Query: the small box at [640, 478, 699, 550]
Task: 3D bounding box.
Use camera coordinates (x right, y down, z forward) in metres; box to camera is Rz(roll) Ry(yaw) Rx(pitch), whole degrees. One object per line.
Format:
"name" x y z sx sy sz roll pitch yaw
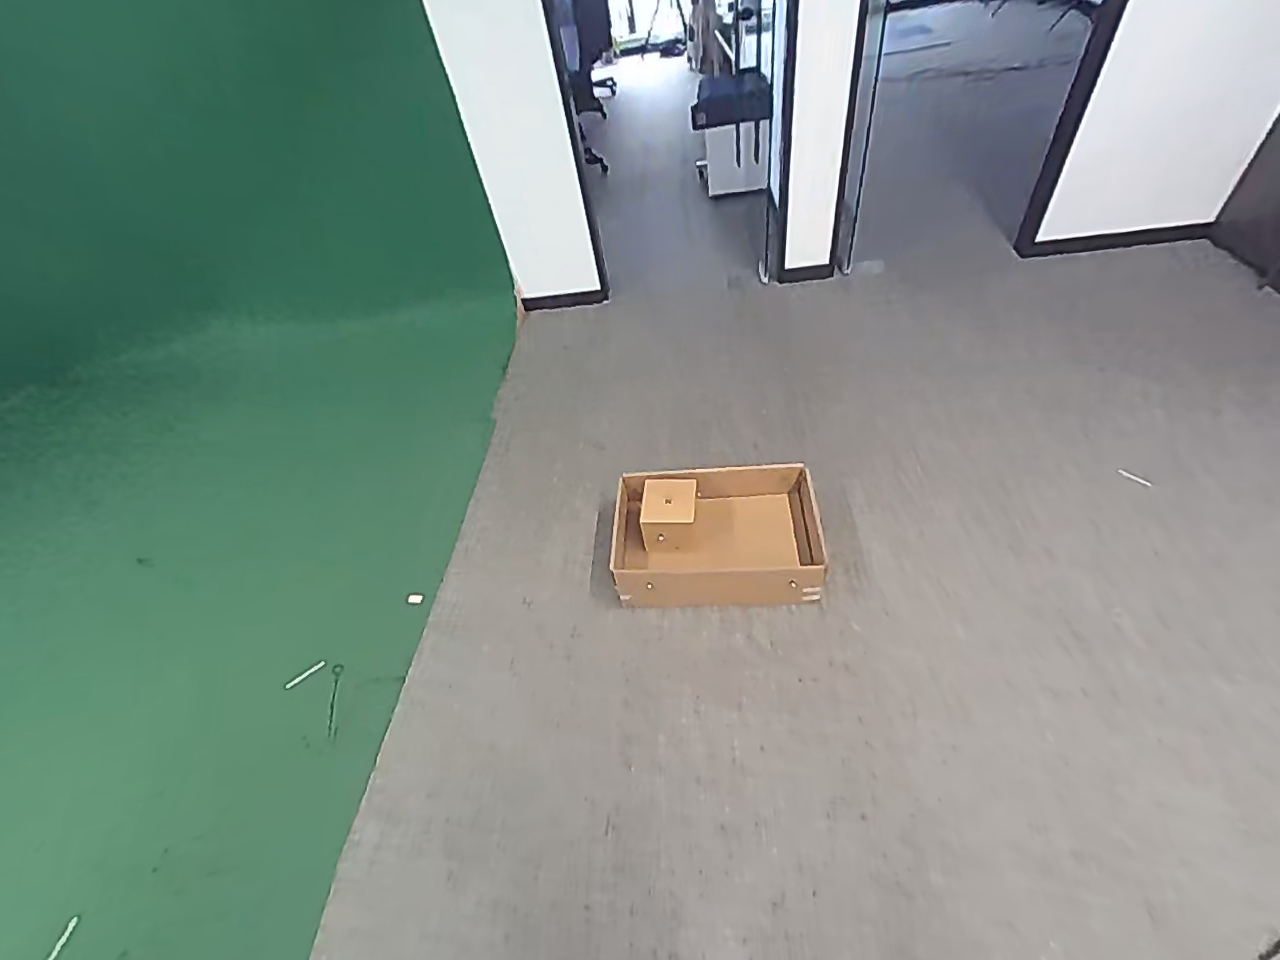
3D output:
"small box" 0.099 0.111 1.737 0.168 0.176 0.179 0 48 10
